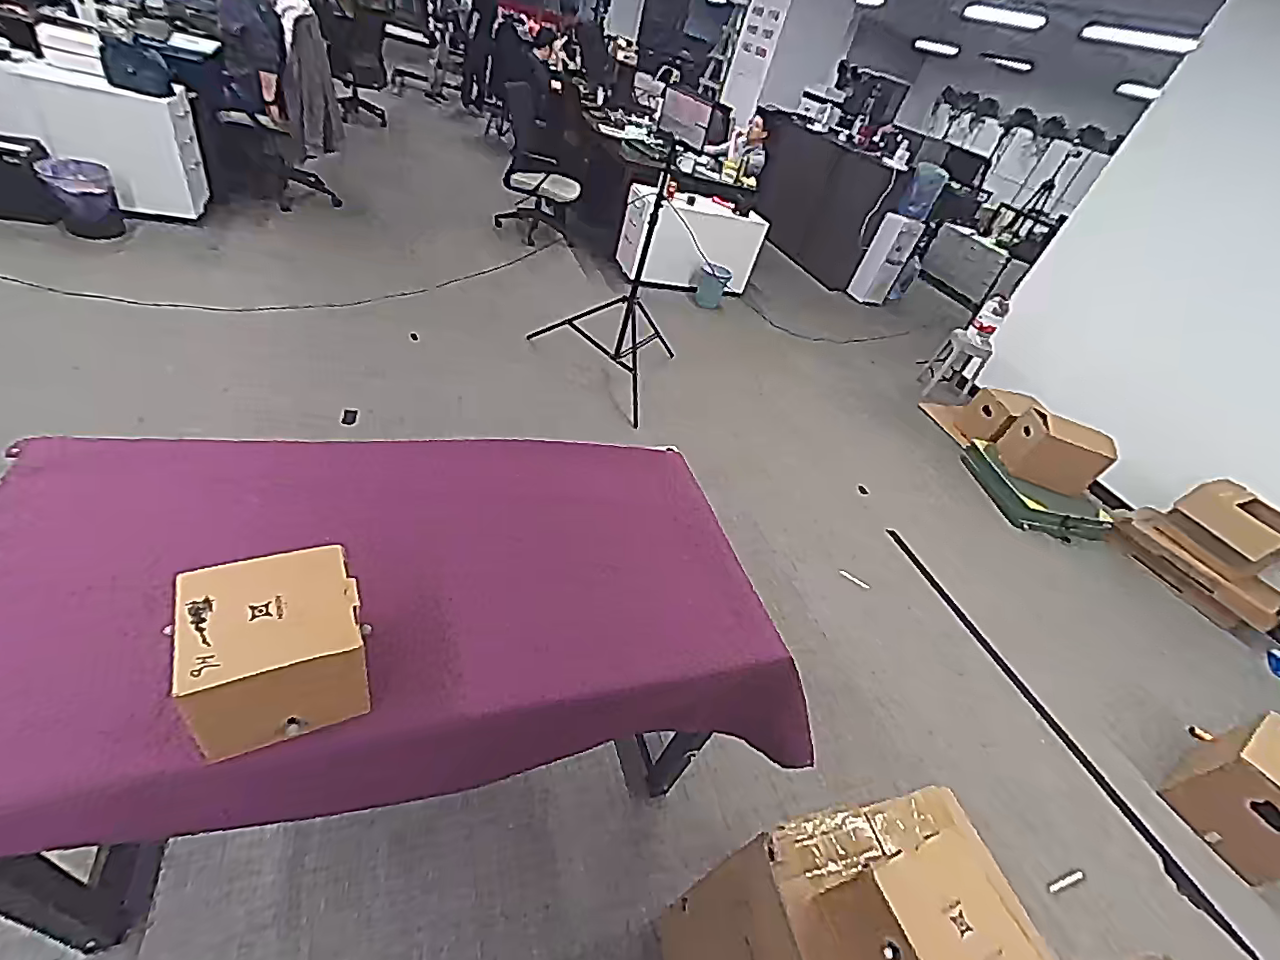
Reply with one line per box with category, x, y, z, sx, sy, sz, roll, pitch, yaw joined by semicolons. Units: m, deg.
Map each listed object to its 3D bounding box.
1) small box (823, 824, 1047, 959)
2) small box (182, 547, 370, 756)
small box;0.384;0.609;0.729;0.168;0.176;0.179;-6;46;-25
small box;-0.451;0.214;0.690;0.179;0.176;0.168;-9;46;-31
